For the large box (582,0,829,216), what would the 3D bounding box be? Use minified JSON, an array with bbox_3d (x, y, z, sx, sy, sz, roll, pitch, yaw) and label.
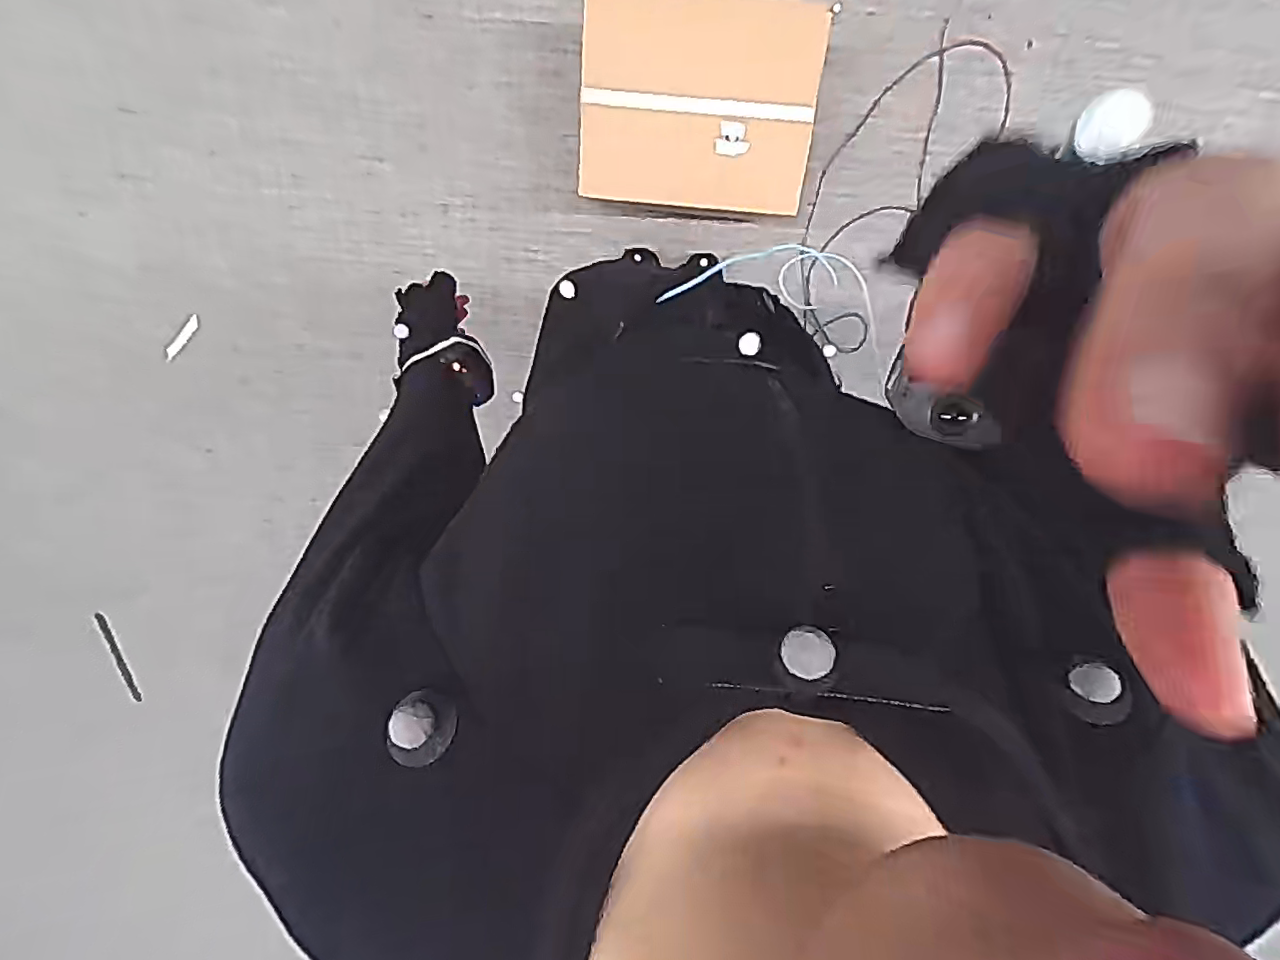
[{"bbox_3d":[0.100,-0.714,1.071,0.408,0.320,0.320,5,115,-2],"label":"large box"}]
